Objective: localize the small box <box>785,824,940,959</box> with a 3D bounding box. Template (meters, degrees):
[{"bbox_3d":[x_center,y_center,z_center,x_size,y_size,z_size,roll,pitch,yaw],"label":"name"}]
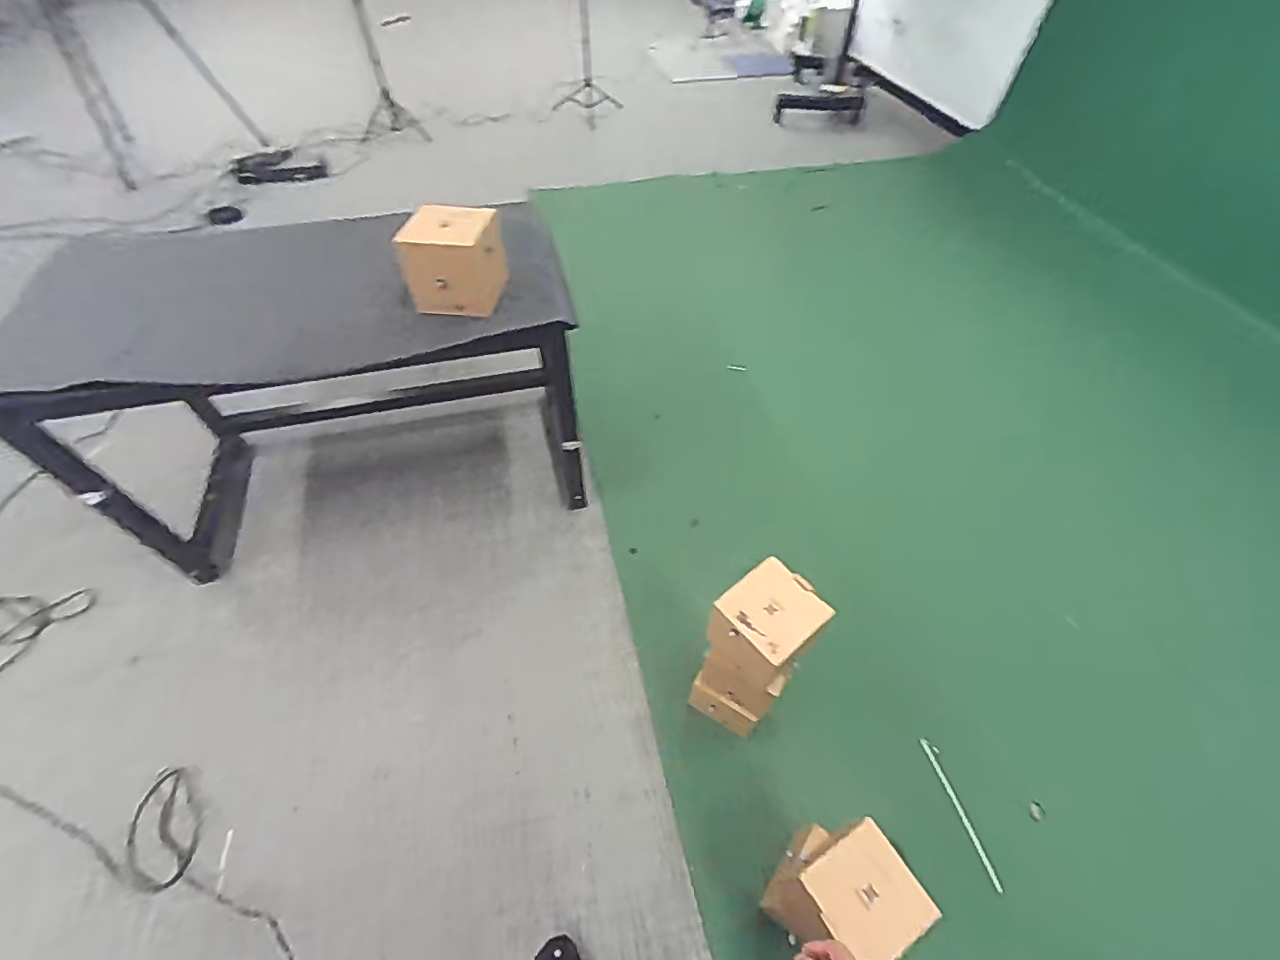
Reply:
[{"bbox_3d":[0.380,0.757,0.965,0.179,0.176,0.168,-25,57,-20],"label":"small box"}]

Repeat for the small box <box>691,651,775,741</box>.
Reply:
[{"bbox_3d":[0.239,0.523,1.359,0.168,0.176,0.179,26,55,19],"label":"small box"}]

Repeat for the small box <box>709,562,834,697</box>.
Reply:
[{"bbox_3d":[0.258,0.309,1.109,0.179,0.176,0.168,-32,58,-23],"label":"small box"}]

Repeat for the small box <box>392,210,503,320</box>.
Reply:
[{"bbox_3d":[-0.414,-0.474,1.201,0.168,0.176,0.179,5,49,3],"label":"small box"}]

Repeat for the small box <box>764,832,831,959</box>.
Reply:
[{"bbox_3d":[0.369,0.856,1.093,0.168,0.176,0.179,32,59,22],"label":"small box"}]
